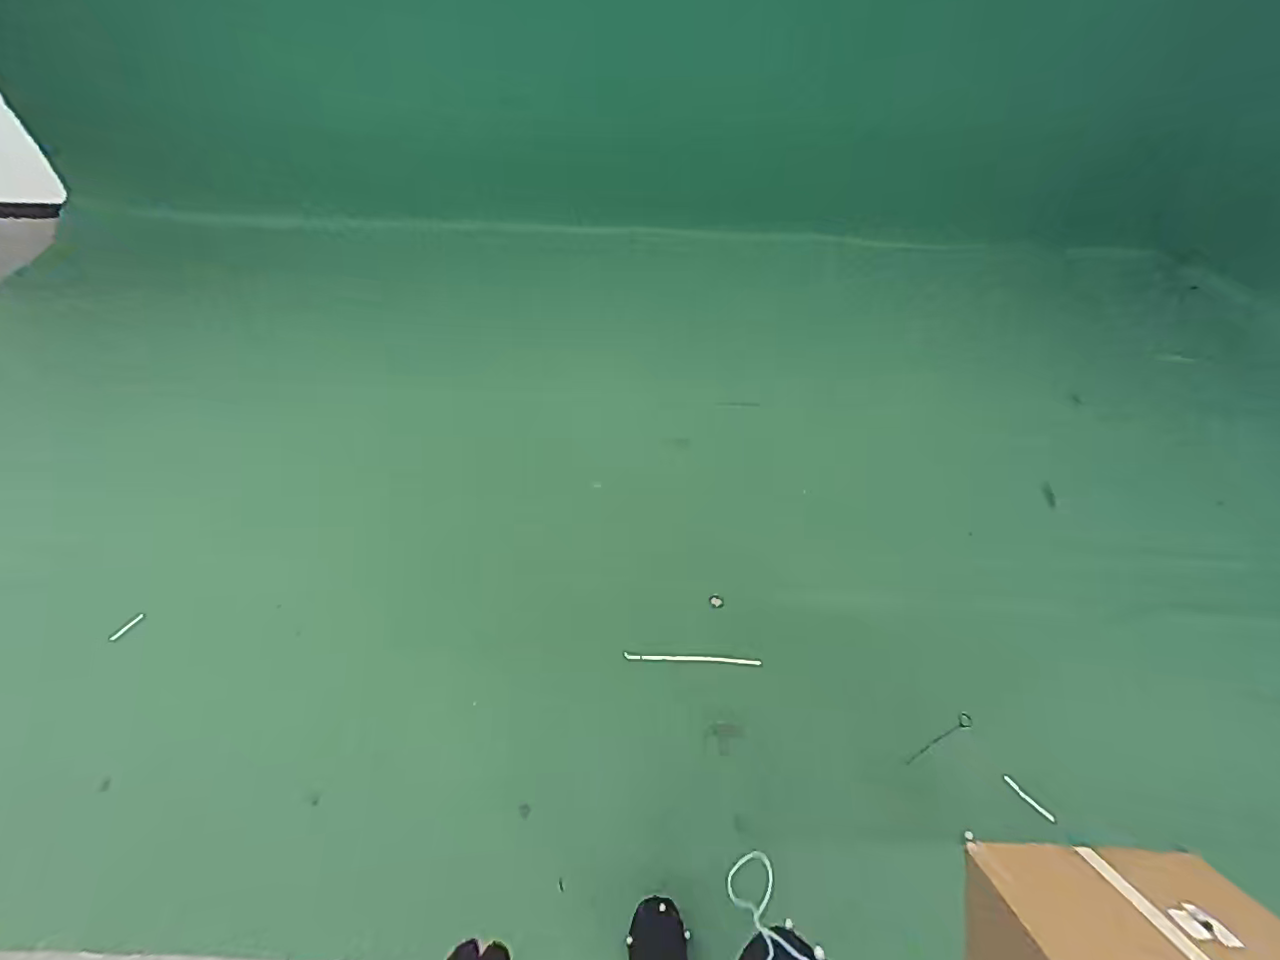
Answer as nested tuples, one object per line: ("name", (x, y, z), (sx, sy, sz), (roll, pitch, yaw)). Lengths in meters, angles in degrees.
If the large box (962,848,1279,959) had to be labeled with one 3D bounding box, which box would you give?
("large box", (0.607, 0.687, 0.579), (0.320, 0.408, 0.320), (1, 90, 5))
